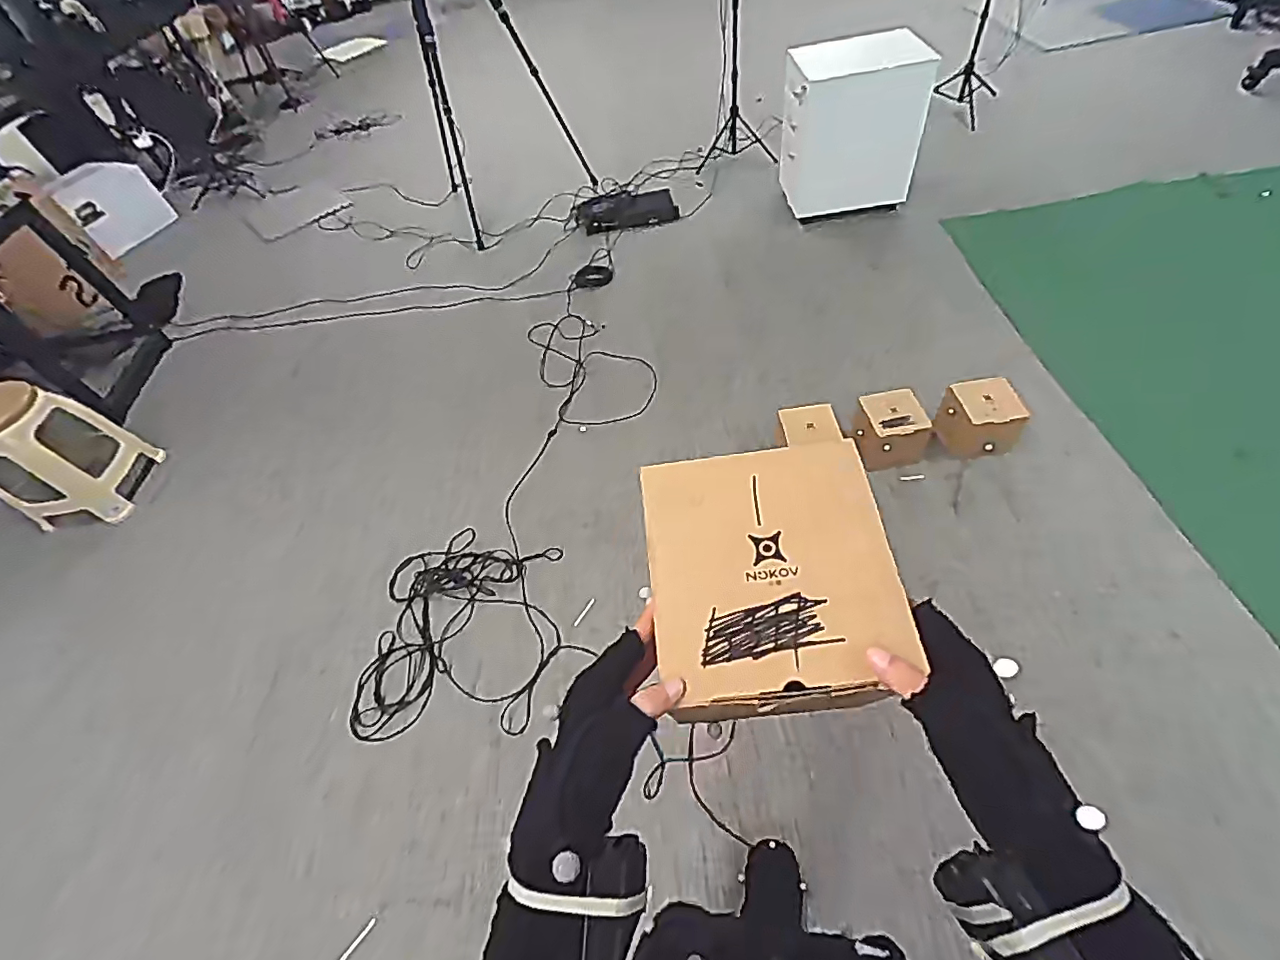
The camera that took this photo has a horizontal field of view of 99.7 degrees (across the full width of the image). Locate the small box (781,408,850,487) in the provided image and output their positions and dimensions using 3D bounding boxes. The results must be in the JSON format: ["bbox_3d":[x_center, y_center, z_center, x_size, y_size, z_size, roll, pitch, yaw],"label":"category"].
[{"bbox_3d":[0.554,-0.102,1.729,0.168,0.176,0.179,-8,53,5],"label":"small box"}]

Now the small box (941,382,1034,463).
[{"bbox_3d":[1.077,-0.178,1.696,0.168,0.176,0.179,-8,53,4],"label":"small box"}]
